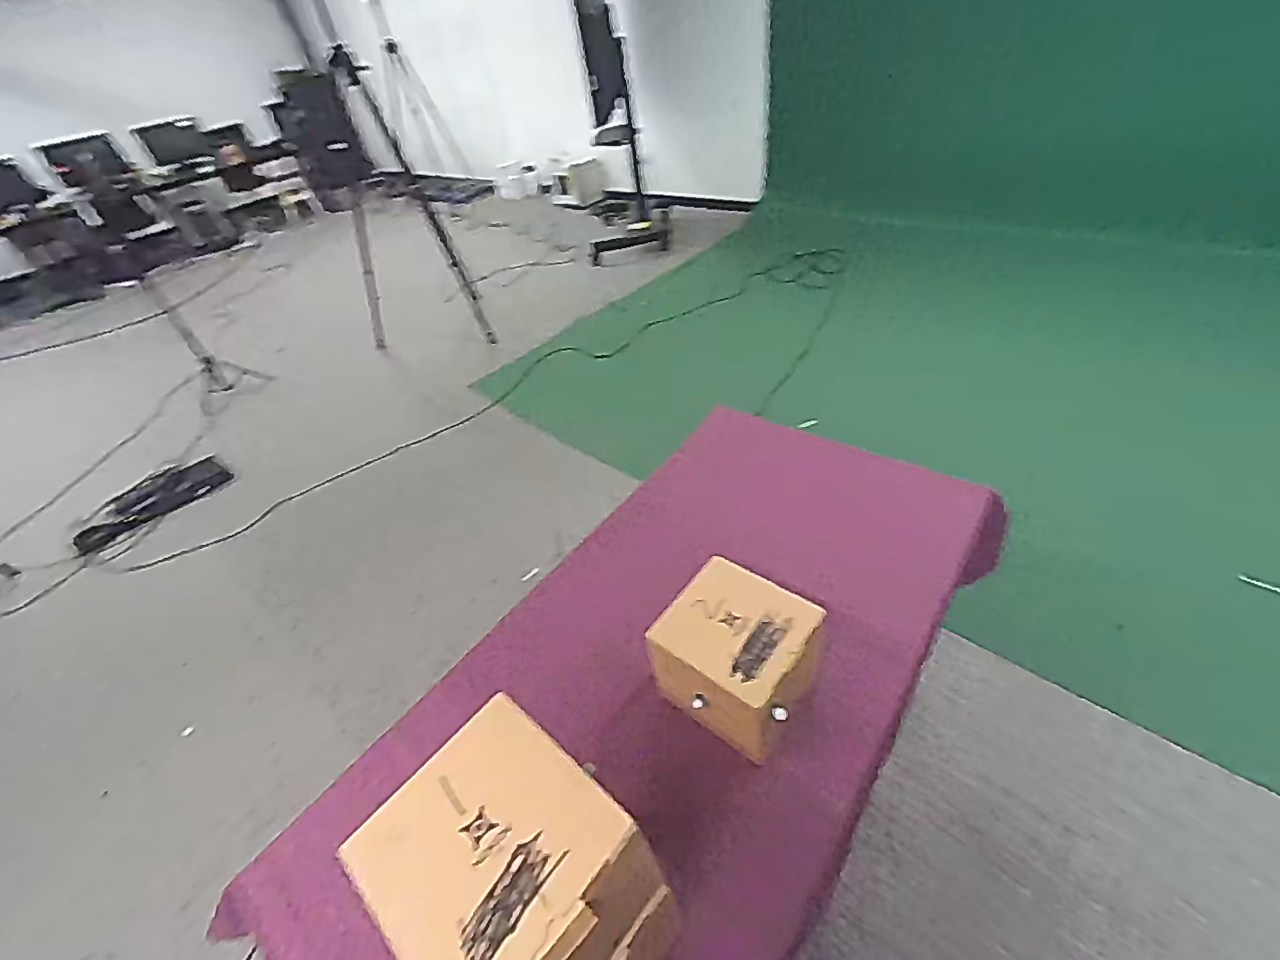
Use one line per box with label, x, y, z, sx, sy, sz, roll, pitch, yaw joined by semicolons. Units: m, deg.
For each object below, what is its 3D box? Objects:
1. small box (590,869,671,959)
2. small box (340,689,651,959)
small box;-0.083;0.453;0.576;0.179;0.176;0.168;27;54;33
small box;-0.110;0.329;0.470;0.179;0.176;0.168;26;53;35
